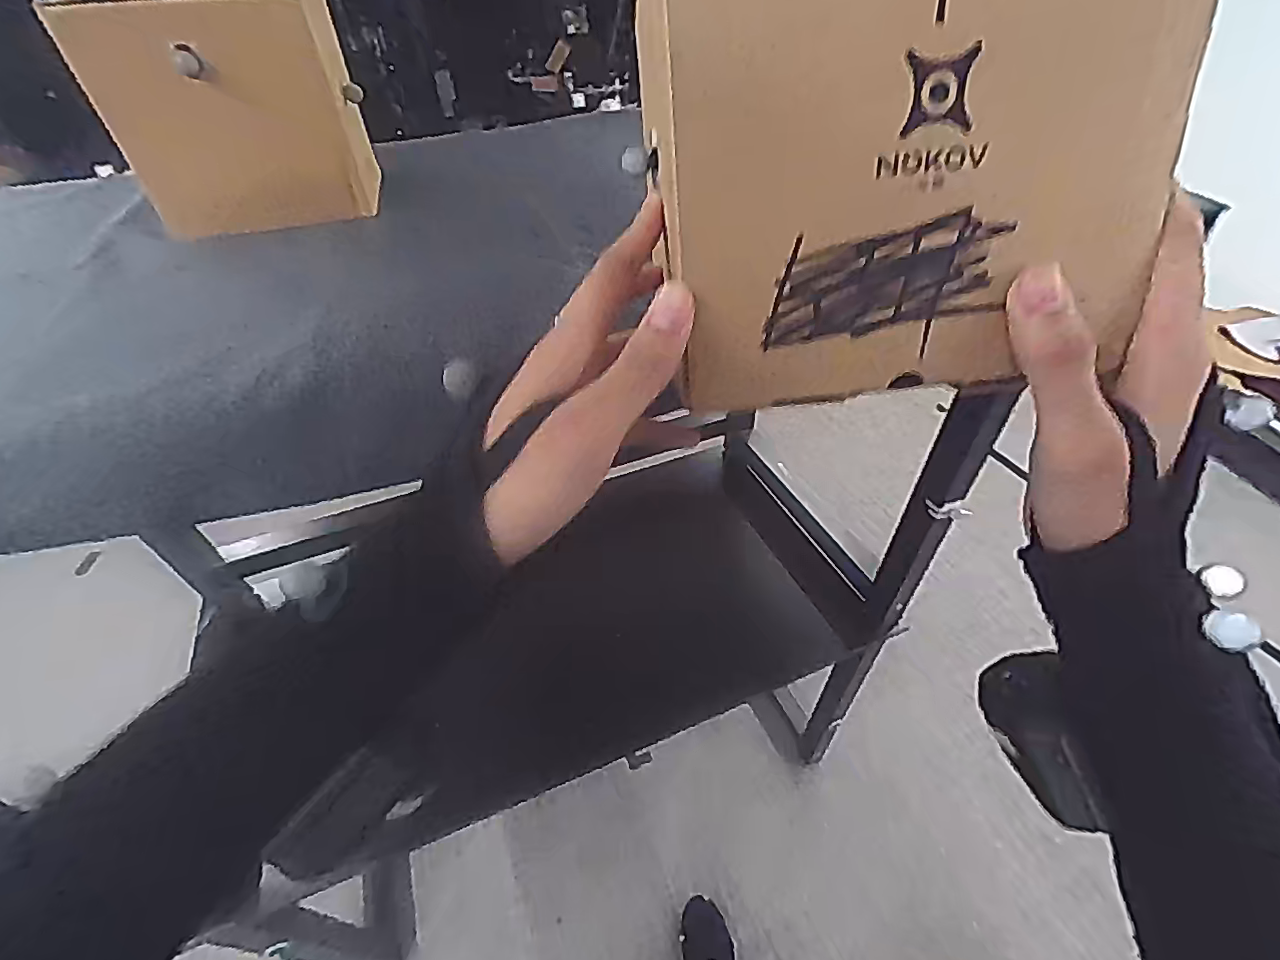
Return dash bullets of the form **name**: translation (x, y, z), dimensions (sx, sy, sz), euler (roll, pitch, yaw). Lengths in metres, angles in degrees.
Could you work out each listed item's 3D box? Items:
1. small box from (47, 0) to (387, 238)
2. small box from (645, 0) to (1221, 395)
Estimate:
- **small box**: translation (-0.353, -0.346, 0.503), dimensions (0.179, 0.176, 0.168), euler (-13, 45, -11)
- **small box**: translation (0.091, -0.148, 0.246), dimensions (0.168, 0.179, 0.176), euler (-5, 21, 0)
